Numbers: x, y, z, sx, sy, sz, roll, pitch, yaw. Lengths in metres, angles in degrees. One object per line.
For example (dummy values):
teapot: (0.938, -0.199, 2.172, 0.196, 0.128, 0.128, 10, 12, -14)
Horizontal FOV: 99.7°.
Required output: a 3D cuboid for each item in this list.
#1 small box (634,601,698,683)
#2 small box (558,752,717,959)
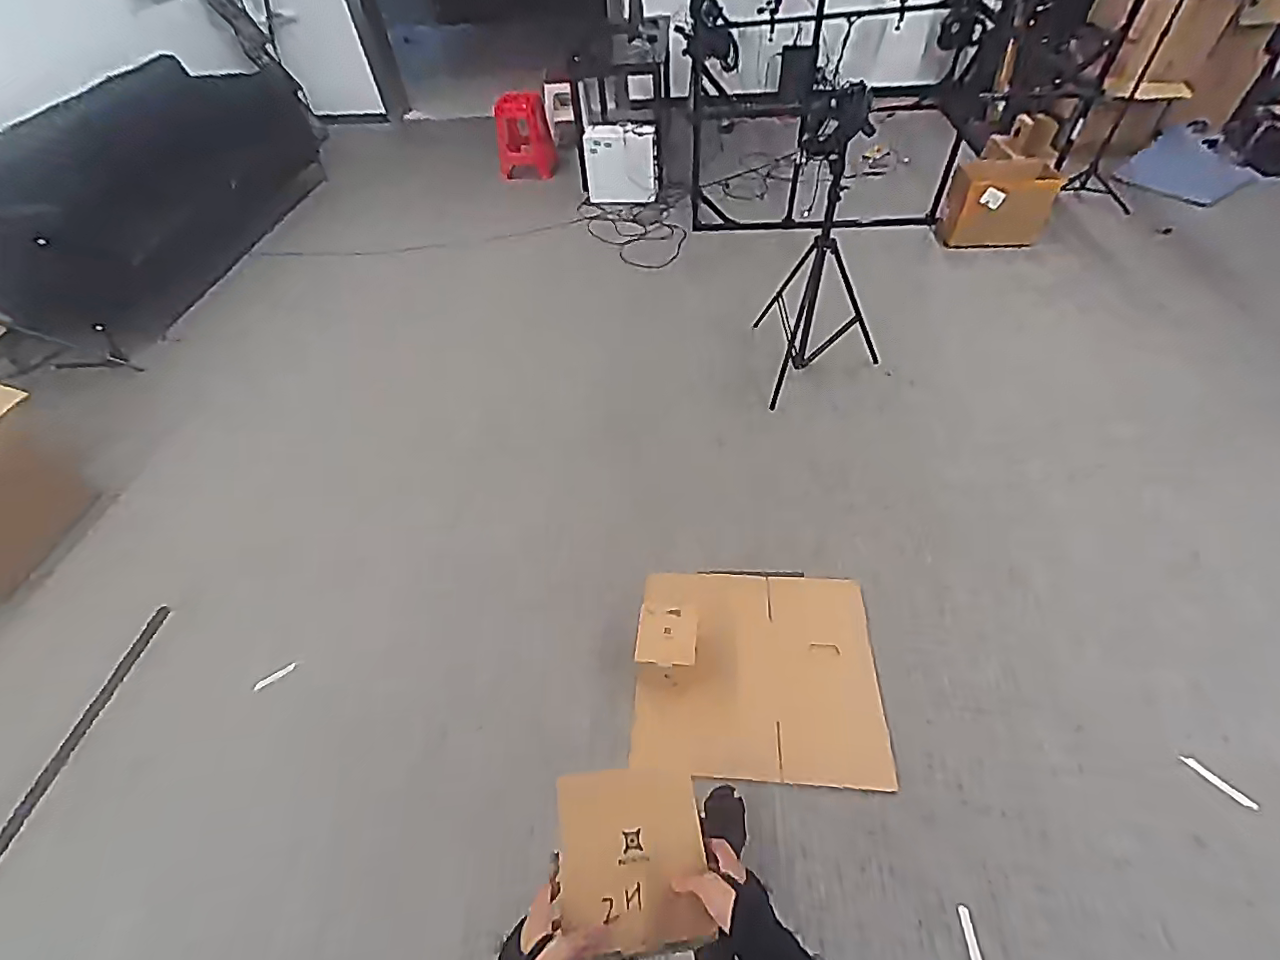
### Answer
small box: (0.081, 0.469, 1.558, 0.168, 0.176, 0.179, 3, 52, 7)
small box: (-0.017, 0.461, 0.664, 0.168, 0.176, 0.179, -2, 46, -9)
